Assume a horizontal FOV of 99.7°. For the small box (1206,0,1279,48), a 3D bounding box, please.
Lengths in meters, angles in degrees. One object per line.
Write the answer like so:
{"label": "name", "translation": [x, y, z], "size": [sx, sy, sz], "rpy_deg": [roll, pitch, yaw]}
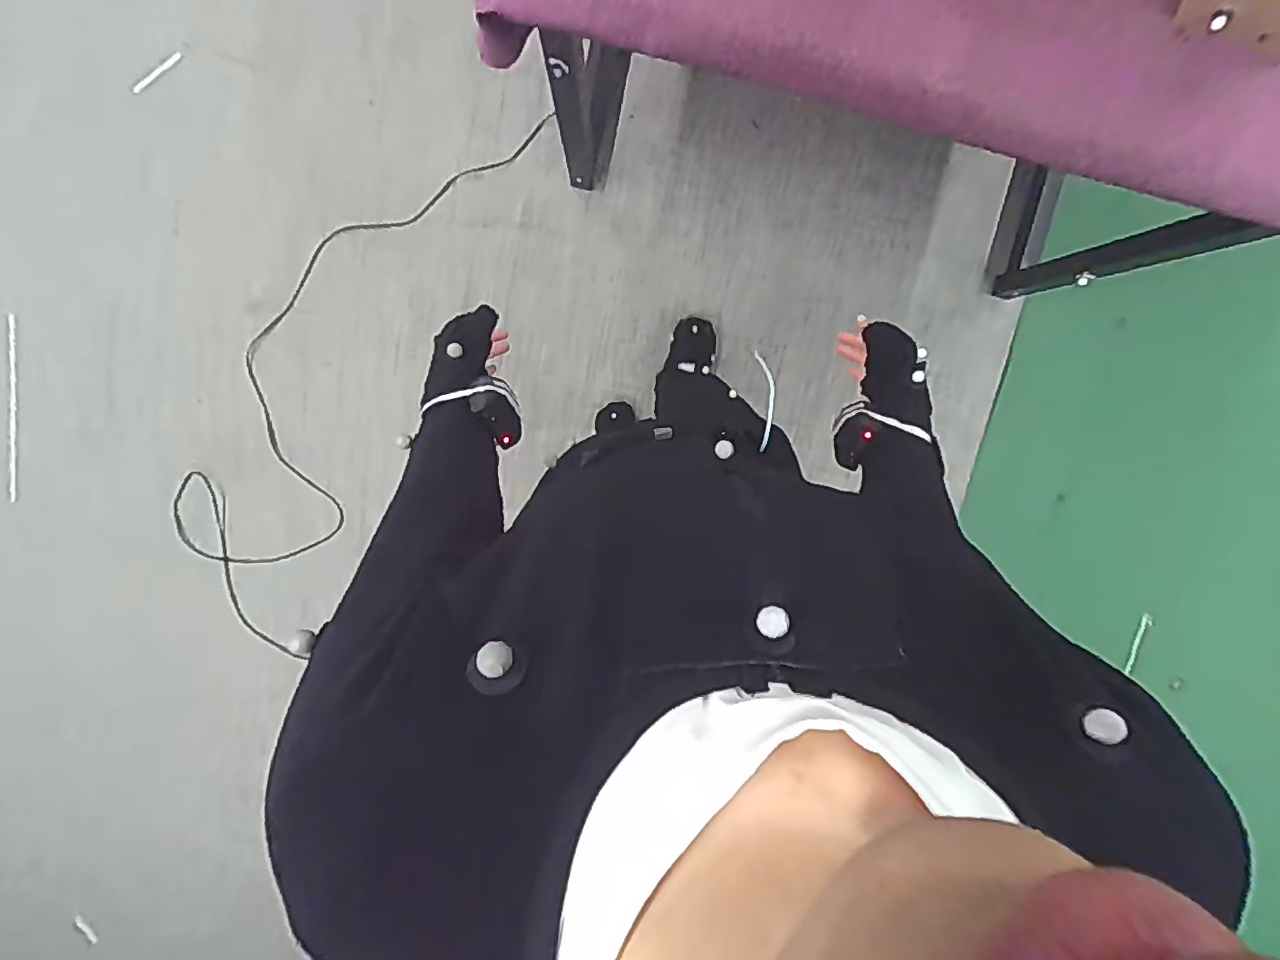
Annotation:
{"label": "small box", "translation": [0.771, -0.619, 0.577], "size": [0.168, 0.176, 0.179], "rpy_deg": [16, 99, -7]}
